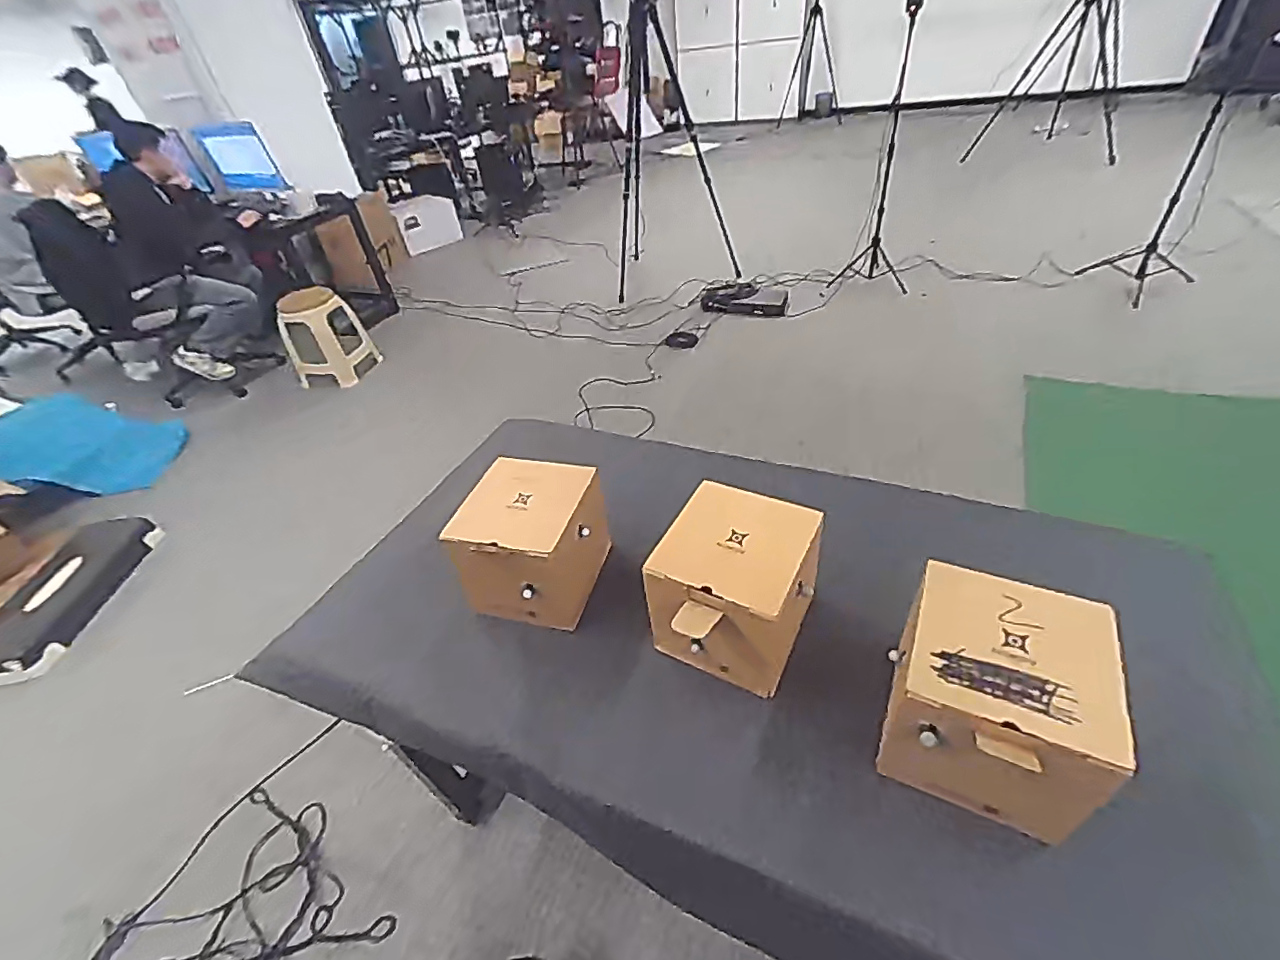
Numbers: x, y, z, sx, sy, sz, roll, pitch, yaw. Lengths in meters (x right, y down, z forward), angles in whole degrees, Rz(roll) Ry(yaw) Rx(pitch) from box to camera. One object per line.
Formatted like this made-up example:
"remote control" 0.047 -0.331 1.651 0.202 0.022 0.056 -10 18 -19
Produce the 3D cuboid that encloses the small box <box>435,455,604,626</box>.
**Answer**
"small box" -0.159 0.087 0.788 0.168 0.176 0.179 7 41 15

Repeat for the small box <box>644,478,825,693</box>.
"small box" 0.121 0.130 0.691 0.168 0.176 0.179 17 46 26
